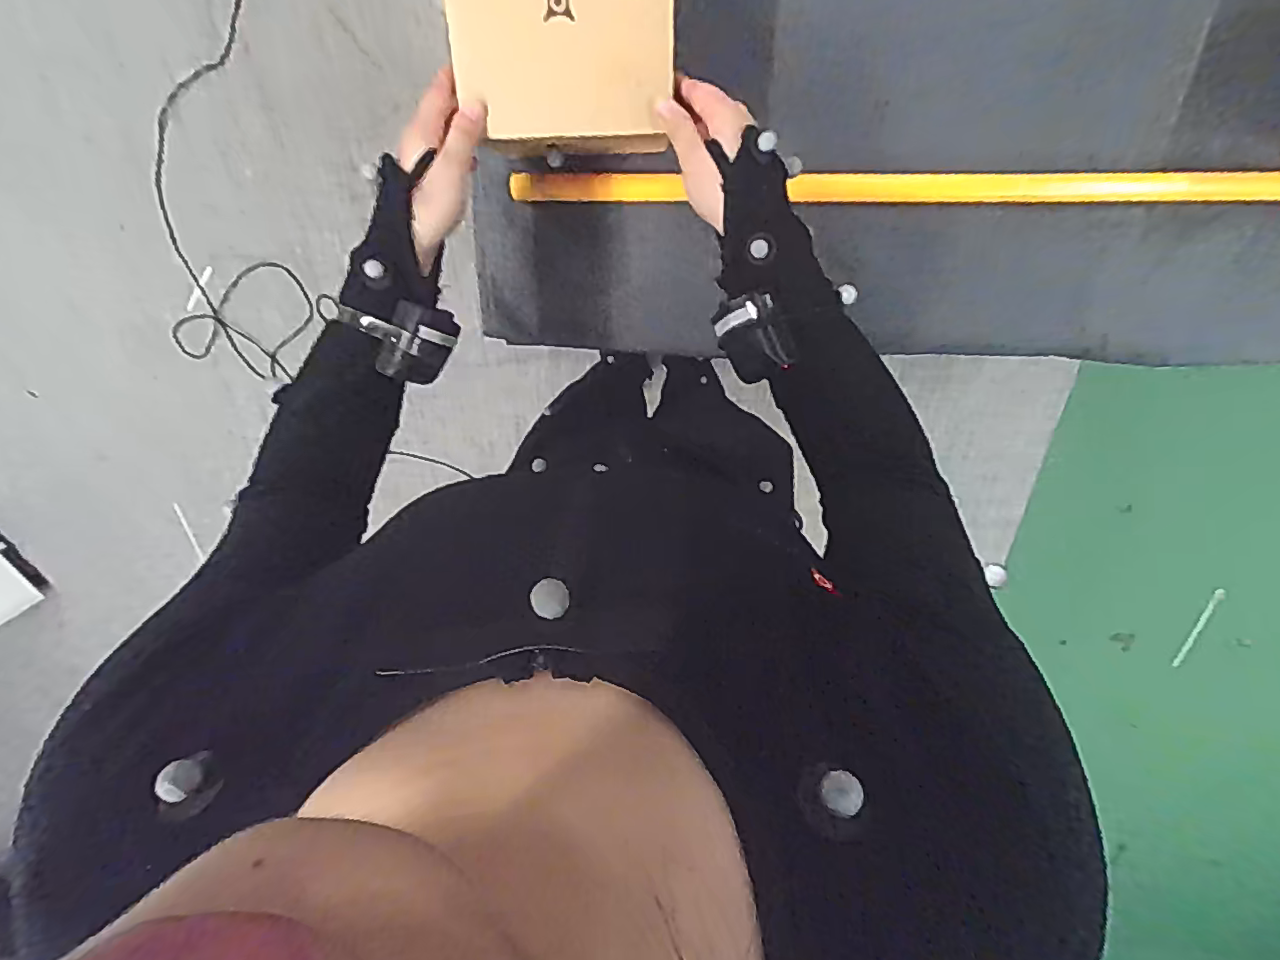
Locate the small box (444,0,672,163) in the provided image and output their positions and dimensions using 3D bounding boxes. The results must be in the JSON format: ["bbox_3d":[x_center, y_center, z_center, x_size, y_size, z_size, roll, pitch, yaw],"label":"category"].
[{"bbox_3d":[-0.056,-0.374,0.457,0.168,0.176,0.179,-2,116,2],"label":"small box"}]
